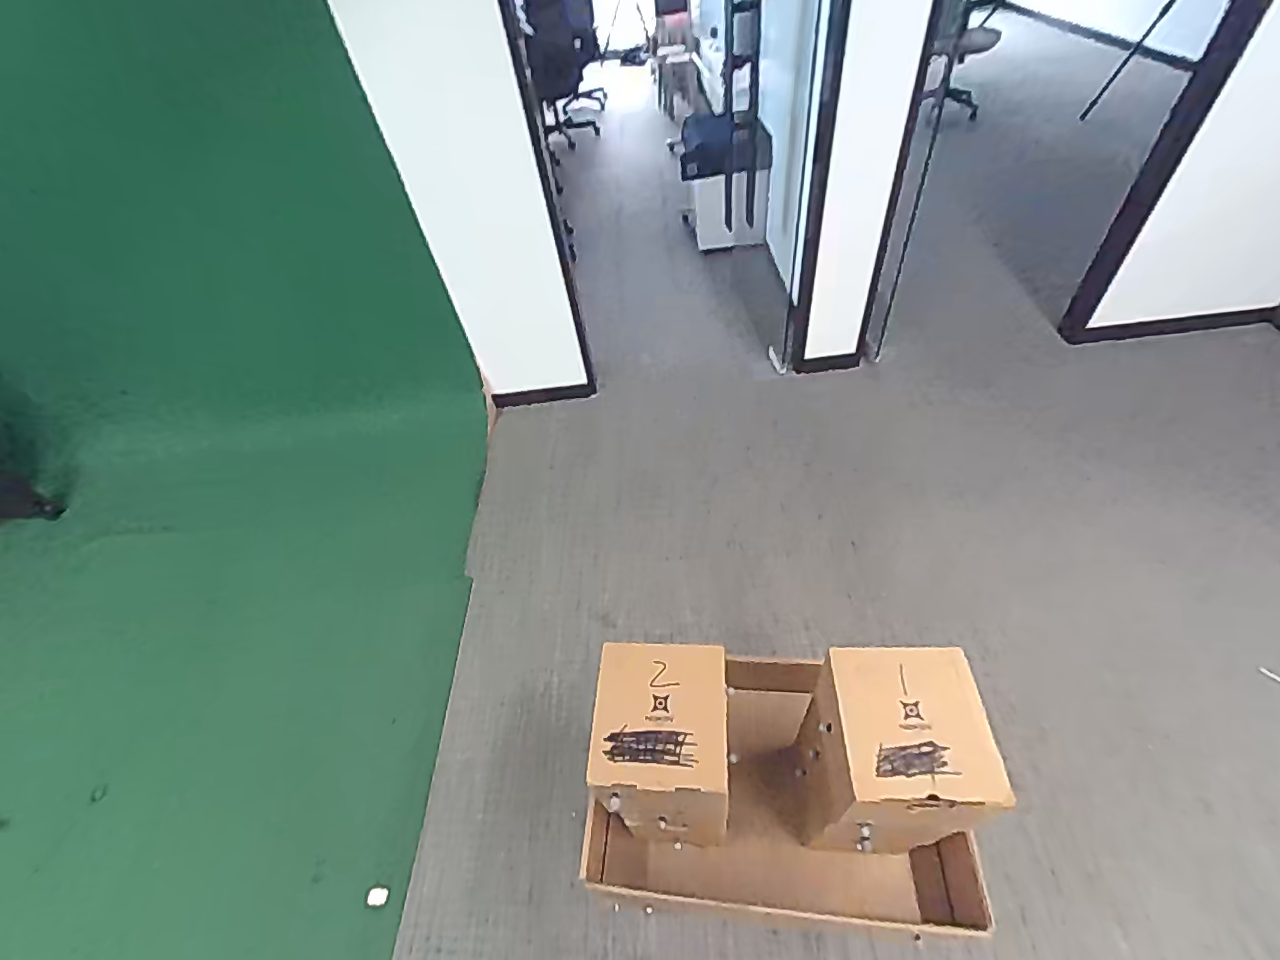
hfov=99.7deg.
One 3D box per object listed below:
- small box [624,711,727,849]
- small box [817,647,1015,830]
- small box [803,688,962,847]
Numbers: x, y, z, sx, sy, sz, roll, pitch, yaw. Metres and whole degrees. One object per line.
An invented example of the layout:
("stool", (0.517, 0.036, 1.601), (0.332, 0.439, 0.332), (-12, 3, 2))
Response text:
("small box", (0.071, 0.540, 0.975), (0.168, 0.176, 0.179), (0, 49, 9))
("small box", (0.329, 0.330, 0.688), (0.168, 0.176, 0.179), (-2, 48, 8))
("small box", (0.347, 0.433, 0.814), (0.168, 0.176, 0.179), (-1, 50, 8))
